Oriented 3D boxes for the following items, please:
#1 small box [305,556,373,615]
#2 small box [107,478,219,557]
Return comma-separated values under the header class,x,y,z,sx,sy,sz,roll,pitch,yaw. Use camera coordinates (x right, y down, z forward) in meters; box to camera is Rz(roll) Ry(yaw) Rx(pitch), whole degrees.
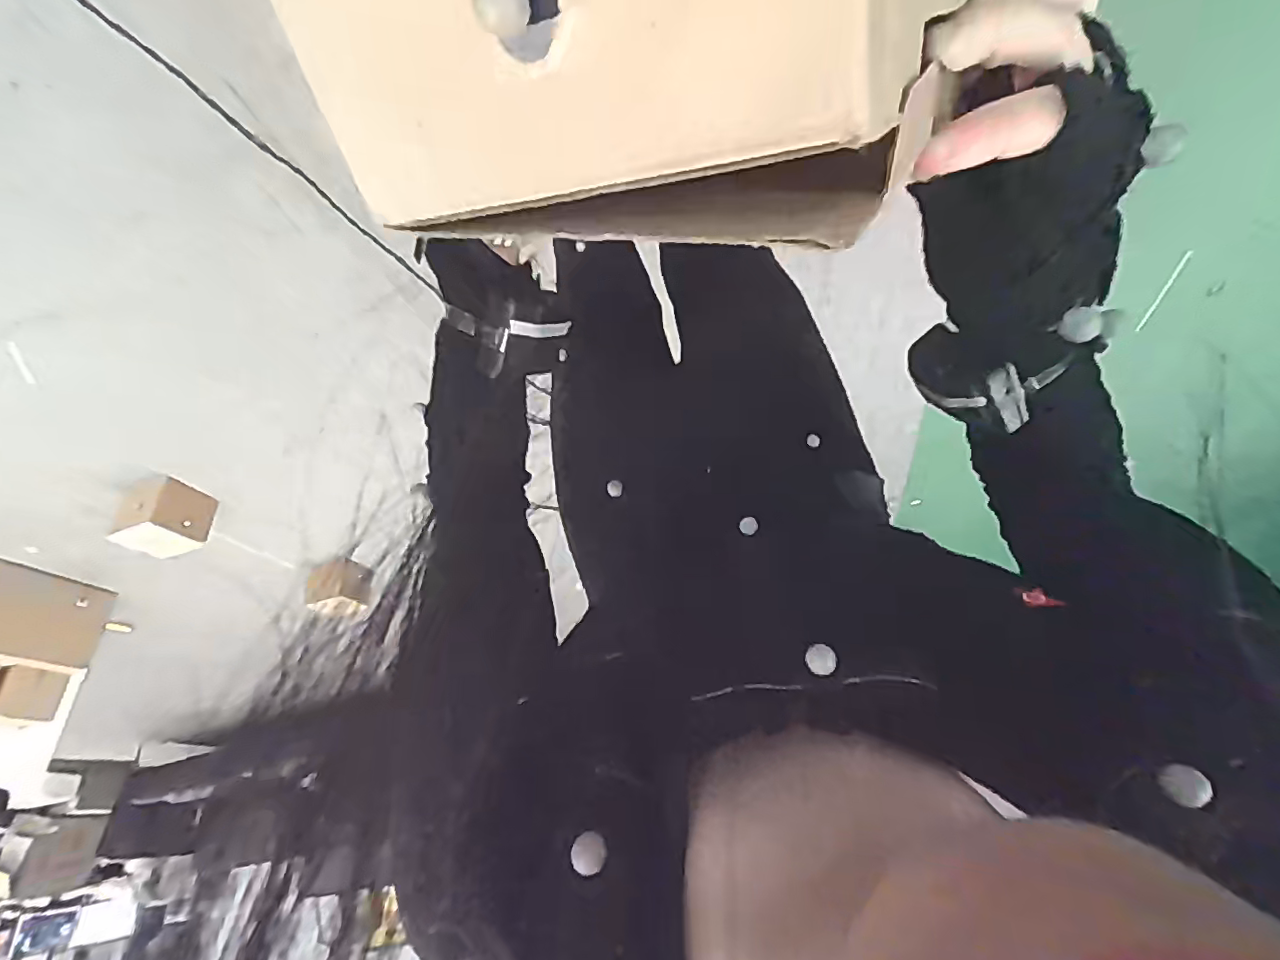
class,x,y,z,sx,sy,sz,roll,pitch,yaw
small box,-1.229,0.433,2.222,0.179,0.176,0.168,-17,147,11
small box,-1.454,0.110,1.661,0.168,0.176,0.179,-18,147,10
